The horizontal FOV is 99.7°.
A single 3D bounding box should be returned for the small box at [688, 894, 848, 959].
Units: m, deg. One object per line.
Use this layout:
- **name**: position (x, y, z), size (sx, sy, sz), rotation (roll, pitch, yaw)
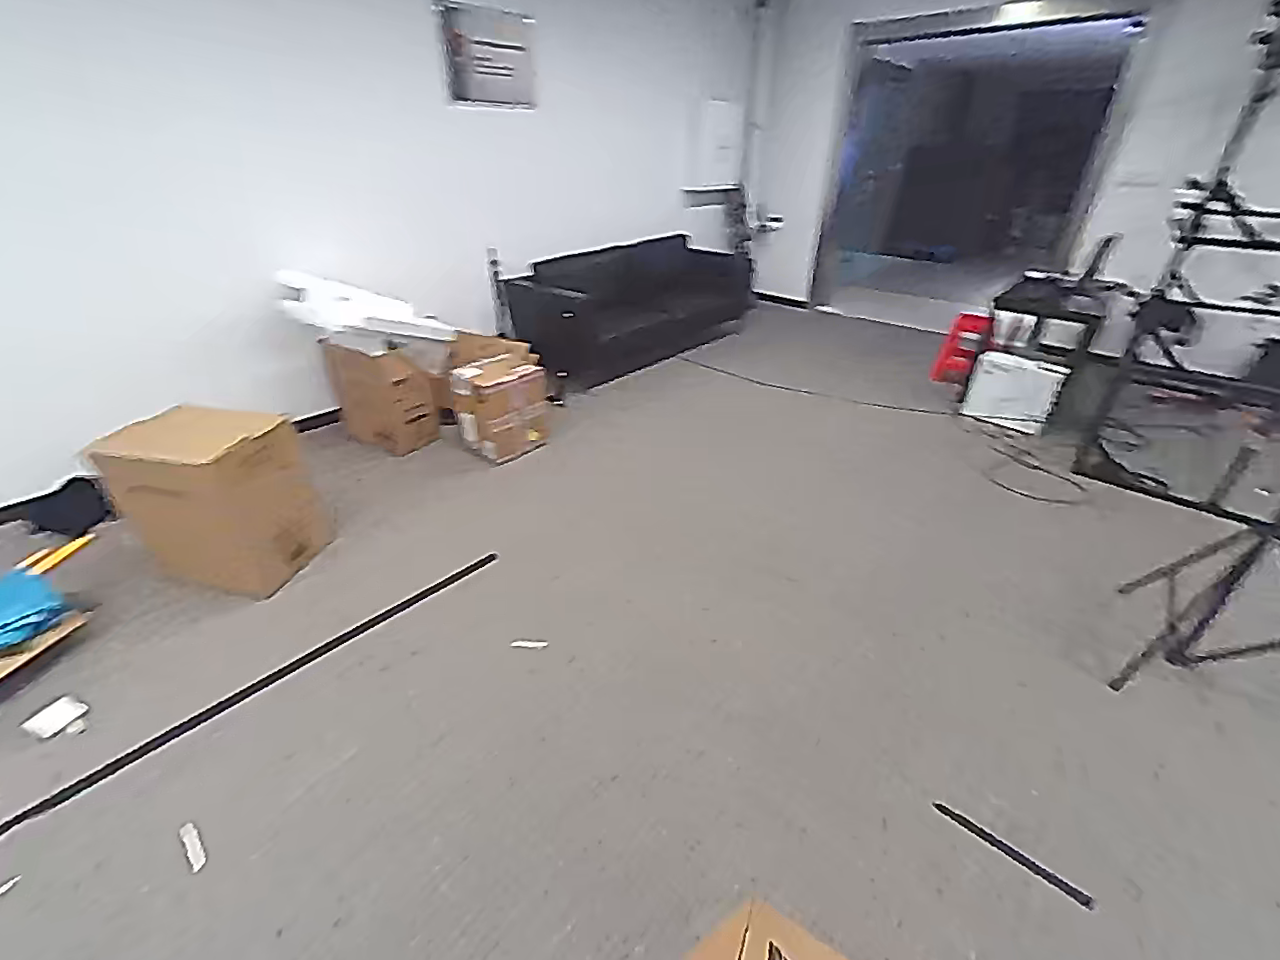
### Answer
- **small box**: position (0.110, 0.505, 0.442), size (0.179, 0.176, 0.168), rotation (31, 30, 9)
